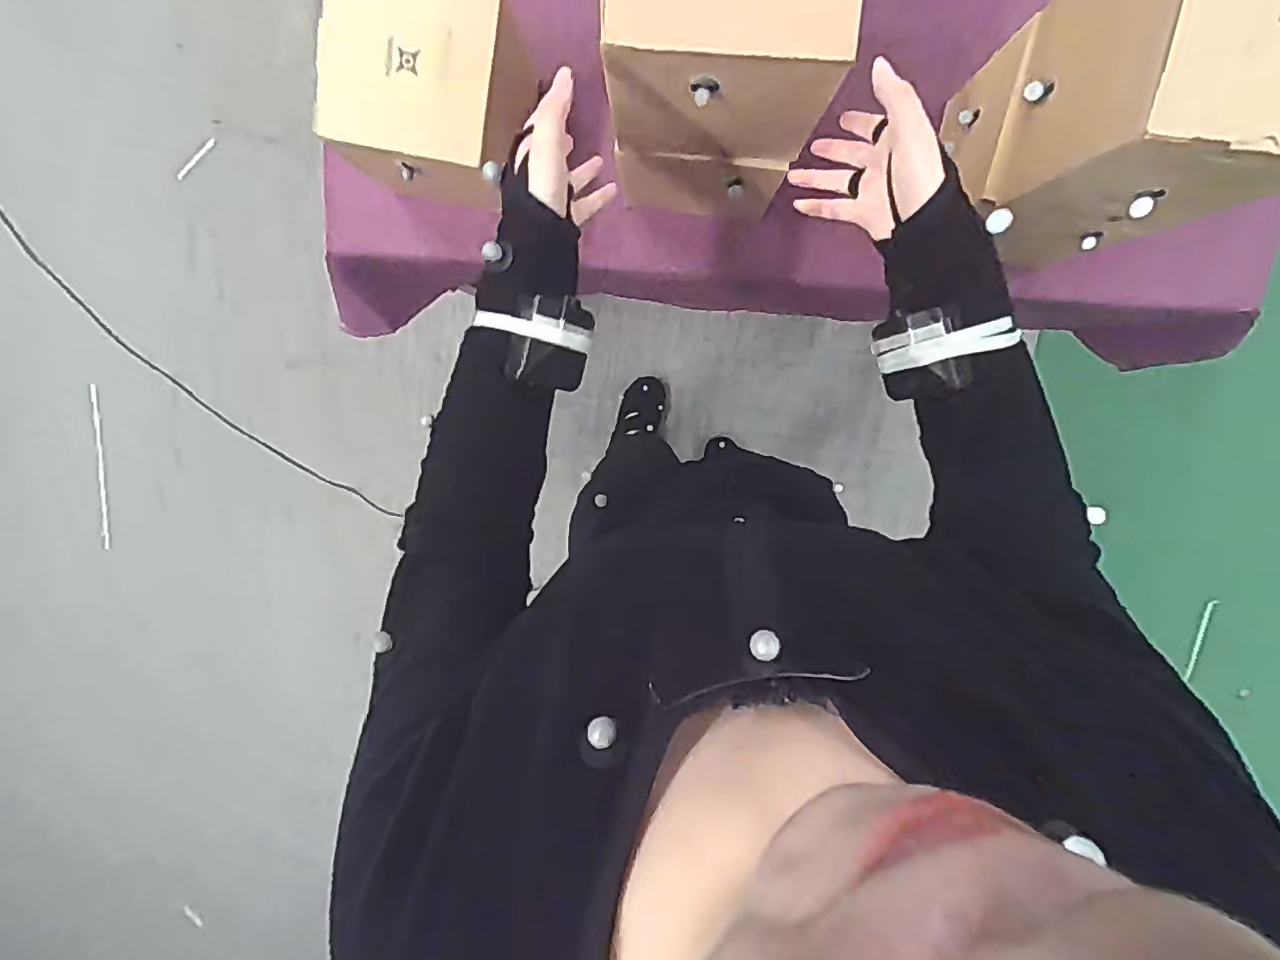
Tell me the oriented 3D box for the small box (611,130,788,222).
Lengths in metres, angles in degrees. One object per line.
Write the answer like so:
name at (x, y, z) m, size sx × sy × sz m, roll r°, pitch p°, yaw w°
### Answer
small box at (0.070, -0.402, 0.600) m, size 0.179 × 0.176 × 0.168 m, roll 8°, pitch 100°, yaw 1°

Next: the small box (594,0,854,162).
small box at (0.064, -0.380, 0.436) m, size 0.179 × 0.176 × 0.168 m, roll 5°, pitch 100°, yaw 1°

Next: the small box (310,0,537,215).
small box at (-0.230, -0.420, 0.611) m, size 0.179 × 0.176 × 0.168 m, roll 12°, pitch 101°, yaw 0°

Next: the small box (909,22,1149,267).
small box at (0.431, -0.347, 0.596) m, size 0.179 × 0.176 × 0.168 m, roll 11°, pitch 100°, yaw 0°

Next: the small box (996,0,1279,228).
small box at (0.427, -0.319, 0.433) m, size 0.168 × 0.176 × 0.179 m, roll 8°, pitch 101°, yaw 0°
